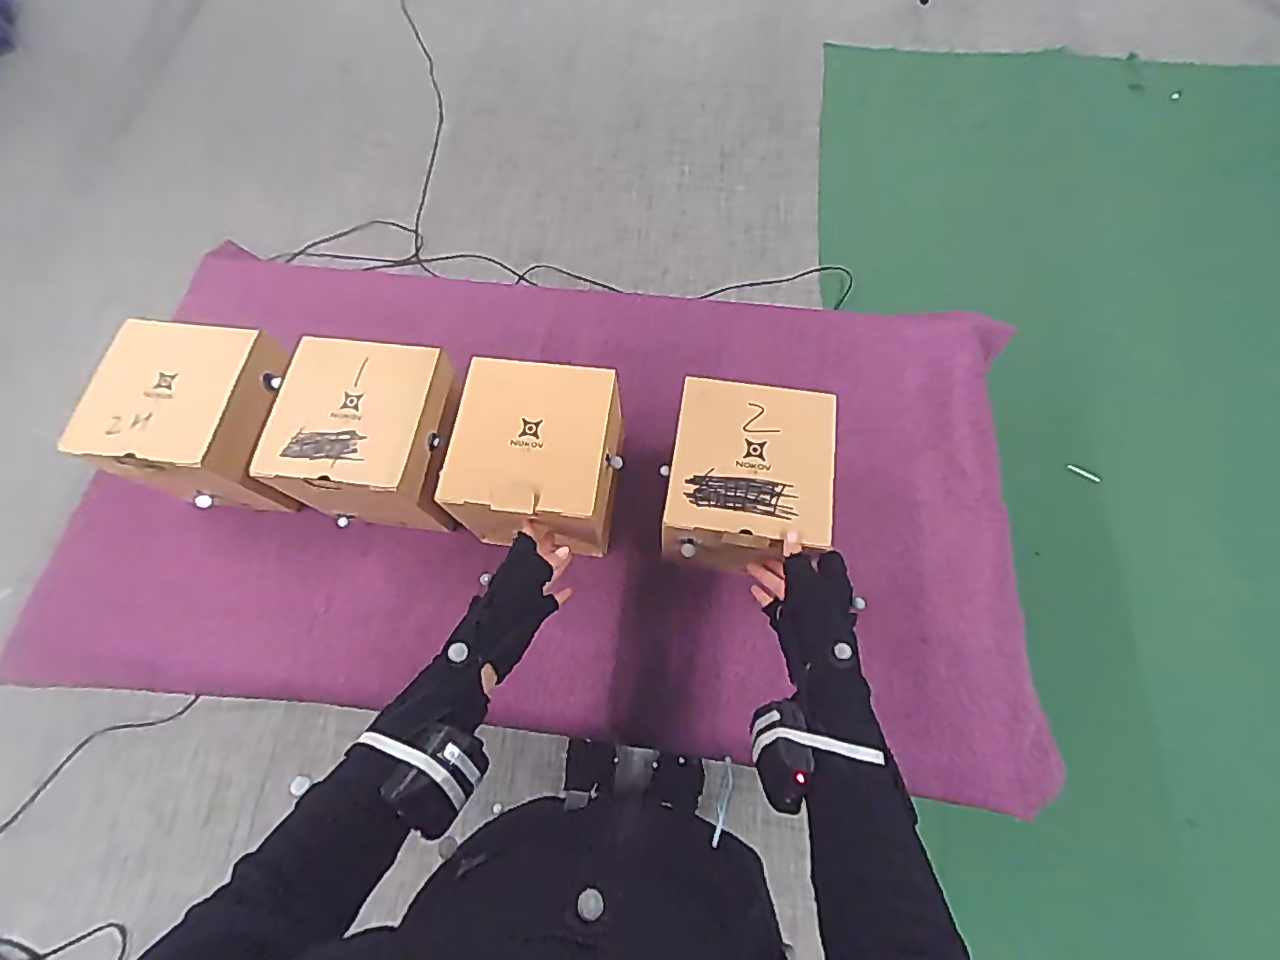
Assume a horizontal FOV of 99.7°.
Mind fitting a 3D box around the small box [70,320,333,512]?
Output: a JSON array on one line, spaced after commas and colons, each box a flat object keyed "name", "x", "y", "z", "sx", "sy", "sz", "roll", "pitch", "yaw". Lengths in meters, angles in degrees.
[{"name": "small box", "x": -0.527, "y": -0.074, "z": 0.685, "sx": 0.168, "sy": 0.176, "sz": 0.179, "roll": 6, "pitch": 70, "yaw": 4}]

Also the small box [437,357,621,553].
[{"name": "small box", "x": -0.117, "y": -0.024, "z": 0.656, "sx": 0.168, "sy": 0.176, "sz": 0.179, "roll": 6, "pitch": 69, "yaw": 5}]
